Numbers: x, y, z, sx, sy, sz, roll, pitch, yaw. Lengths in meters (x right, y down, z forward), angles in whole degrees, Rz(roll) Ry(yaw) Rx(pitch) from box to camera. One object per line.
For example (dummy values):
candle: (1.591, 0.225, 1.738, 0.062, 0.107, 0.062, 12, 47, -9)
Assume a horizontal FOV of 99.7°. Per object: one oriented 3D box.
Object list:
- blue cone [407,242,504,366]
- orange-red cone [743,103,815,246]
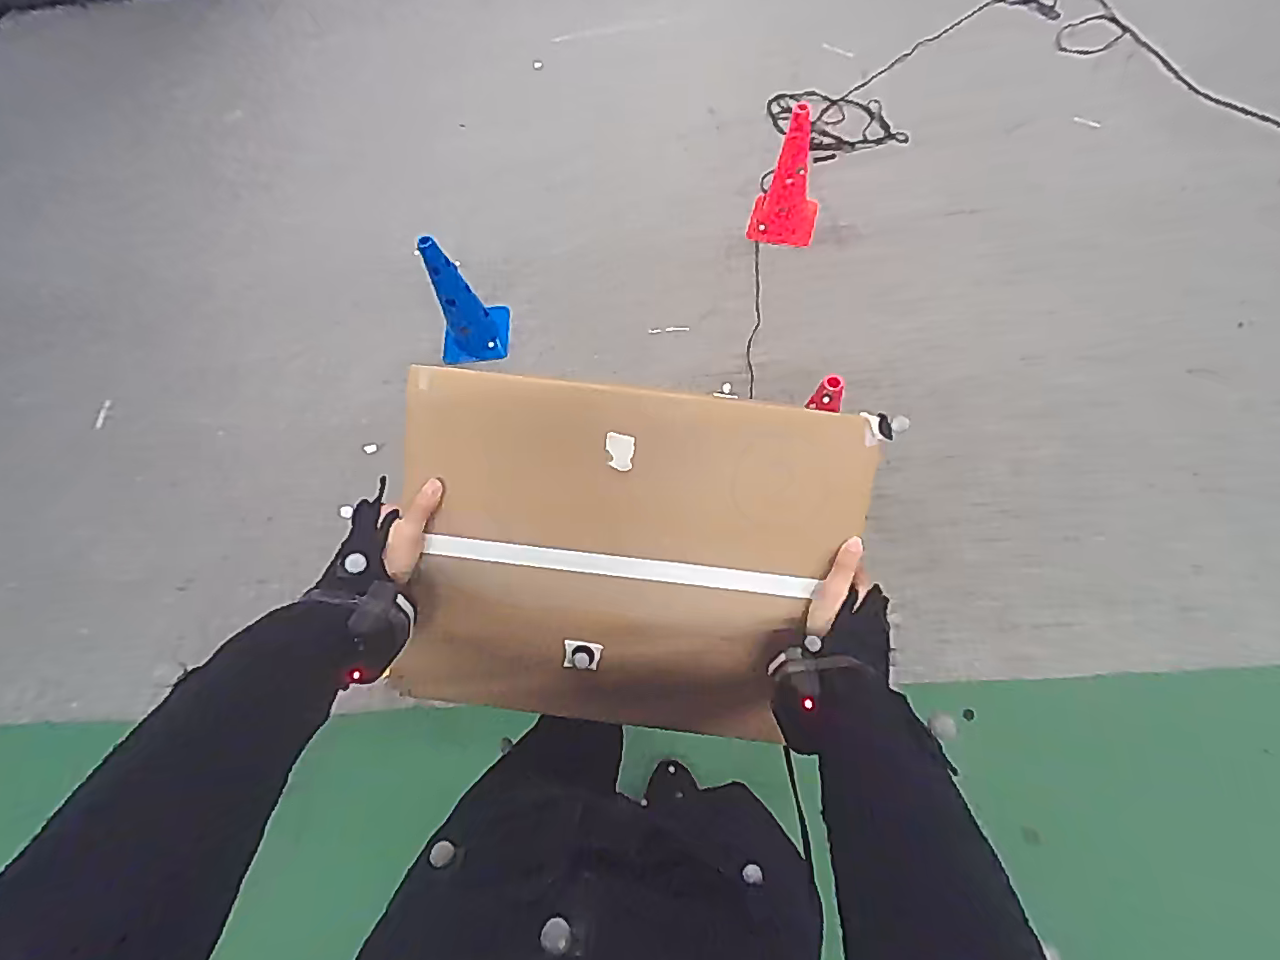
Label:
blue cone: (-0.528, -0.501, 1.502, 0.192, 0.380, 0.193, -4, 65, 5)
orange-red cone: (0.423, -0.890, 1.550, 0.199, 0.360, 0.198, 15, 69, 11)
